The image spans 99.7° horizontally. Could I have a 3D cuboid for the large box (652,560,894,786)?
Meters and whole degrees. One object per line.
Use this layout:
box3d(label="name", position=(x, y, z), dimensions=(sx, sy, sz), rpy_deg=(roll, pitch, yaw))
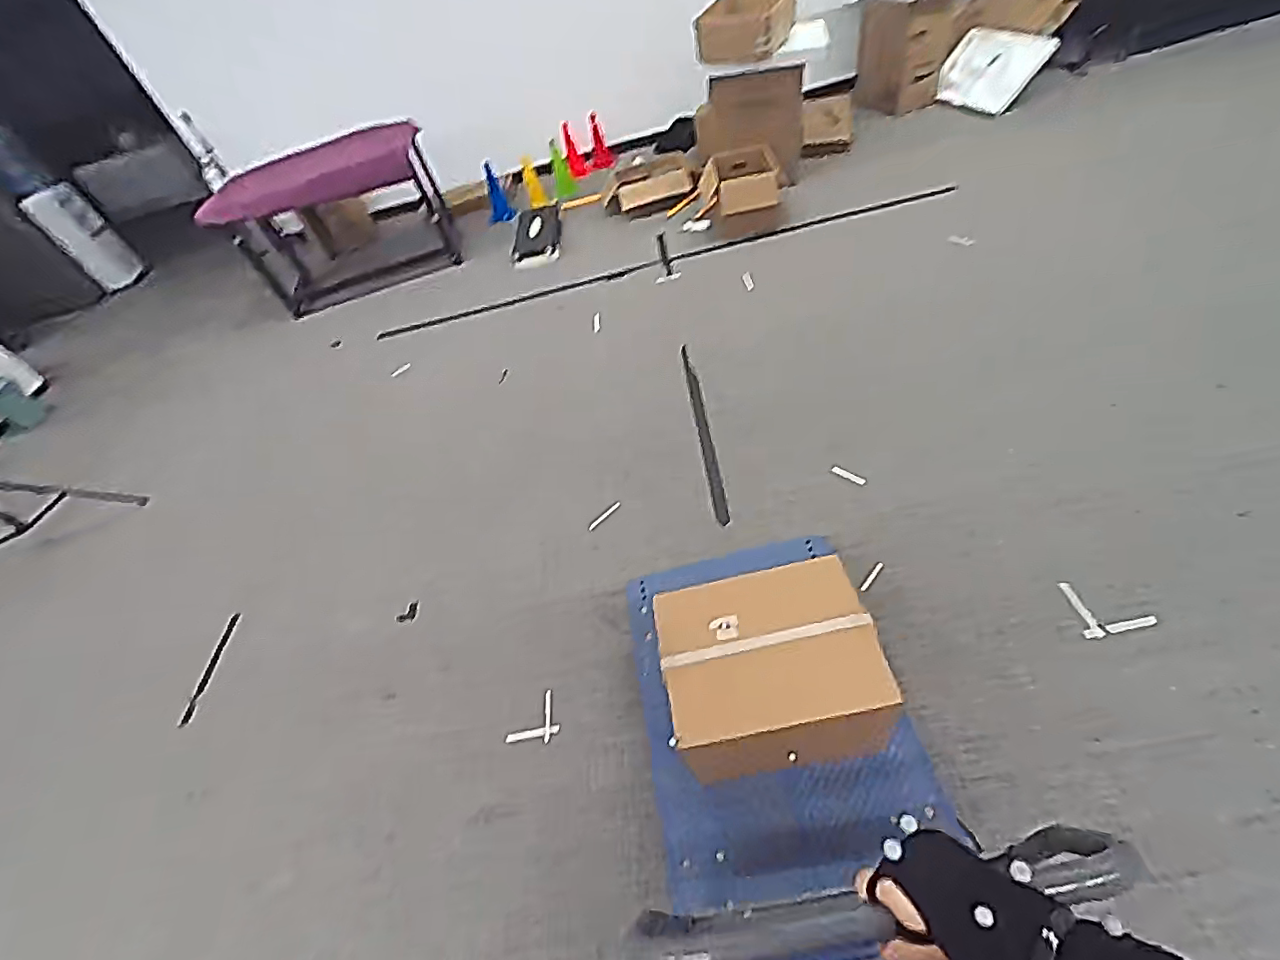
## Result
box3d(label="large box", position=(0.272, 0.425, 1.172), dimensions=(0.408, 0.320, 0.320), rpy_deg=(-15, 47, 4))
